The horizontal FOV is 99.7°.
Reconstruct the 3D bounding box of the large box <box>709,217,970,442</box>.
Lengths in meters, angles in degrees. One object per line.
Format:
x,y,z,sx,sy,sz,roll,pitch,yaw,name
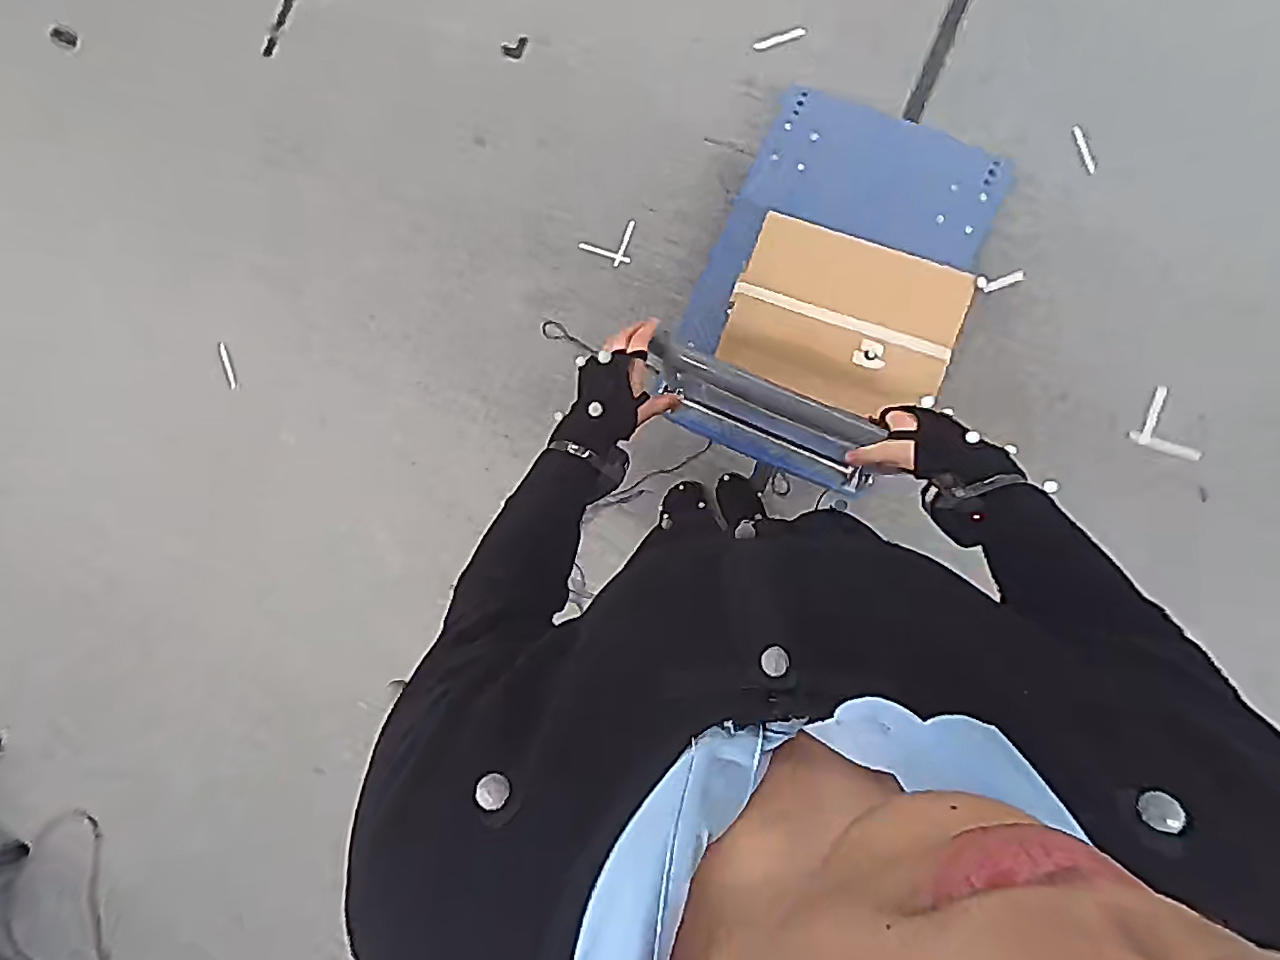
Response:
0.390,-0.298,1.168,0.408,0.320,0.320,20,92,4,large box
